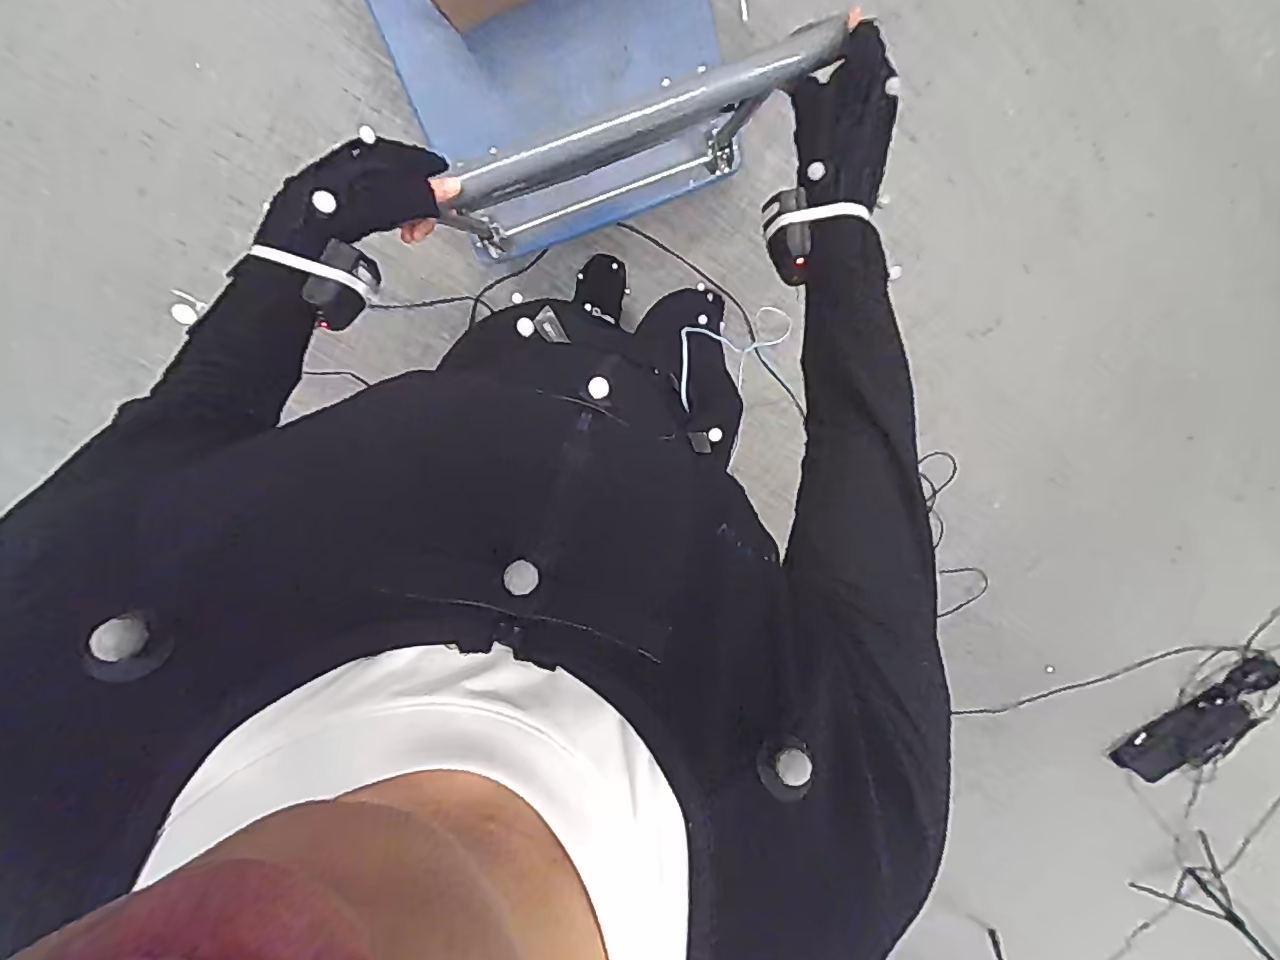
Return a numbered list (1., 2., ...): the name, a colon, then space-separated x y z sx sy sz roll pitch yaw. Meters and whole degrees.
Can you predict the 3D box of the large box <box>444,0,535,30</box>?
1. large box: -0.169 -0.931 0.751 0.408 0.320 0.320 -21 115 7
